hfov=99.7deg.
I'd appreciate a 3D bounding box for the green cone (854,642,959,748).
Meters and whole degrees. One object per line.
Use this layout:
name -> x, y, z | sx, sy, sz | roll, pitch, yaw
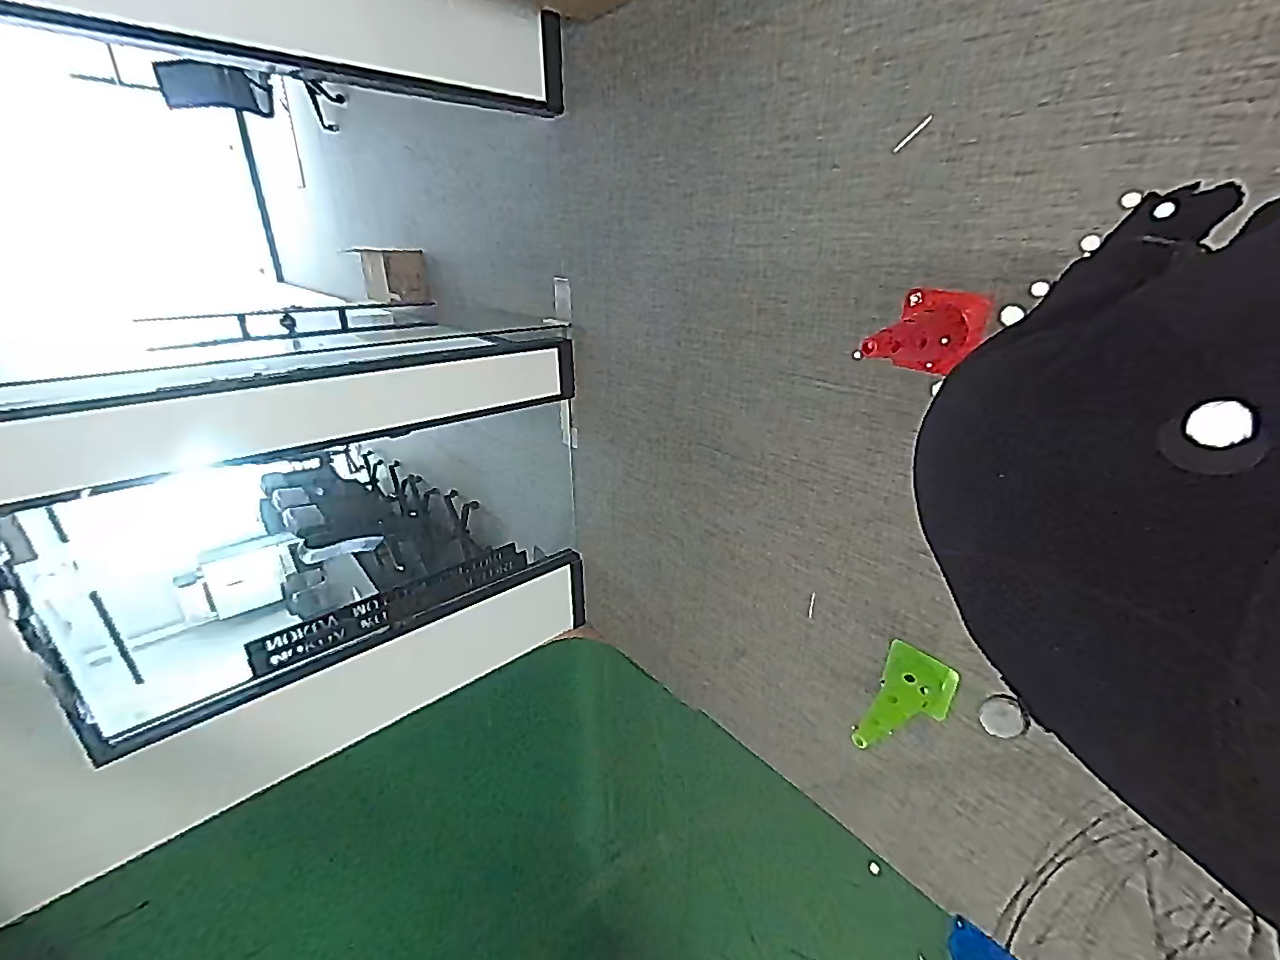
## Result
green cone -> 0.728, 0.661, 1.555 | 0.200, 0.368, 0.202 | 25, 123, 43
